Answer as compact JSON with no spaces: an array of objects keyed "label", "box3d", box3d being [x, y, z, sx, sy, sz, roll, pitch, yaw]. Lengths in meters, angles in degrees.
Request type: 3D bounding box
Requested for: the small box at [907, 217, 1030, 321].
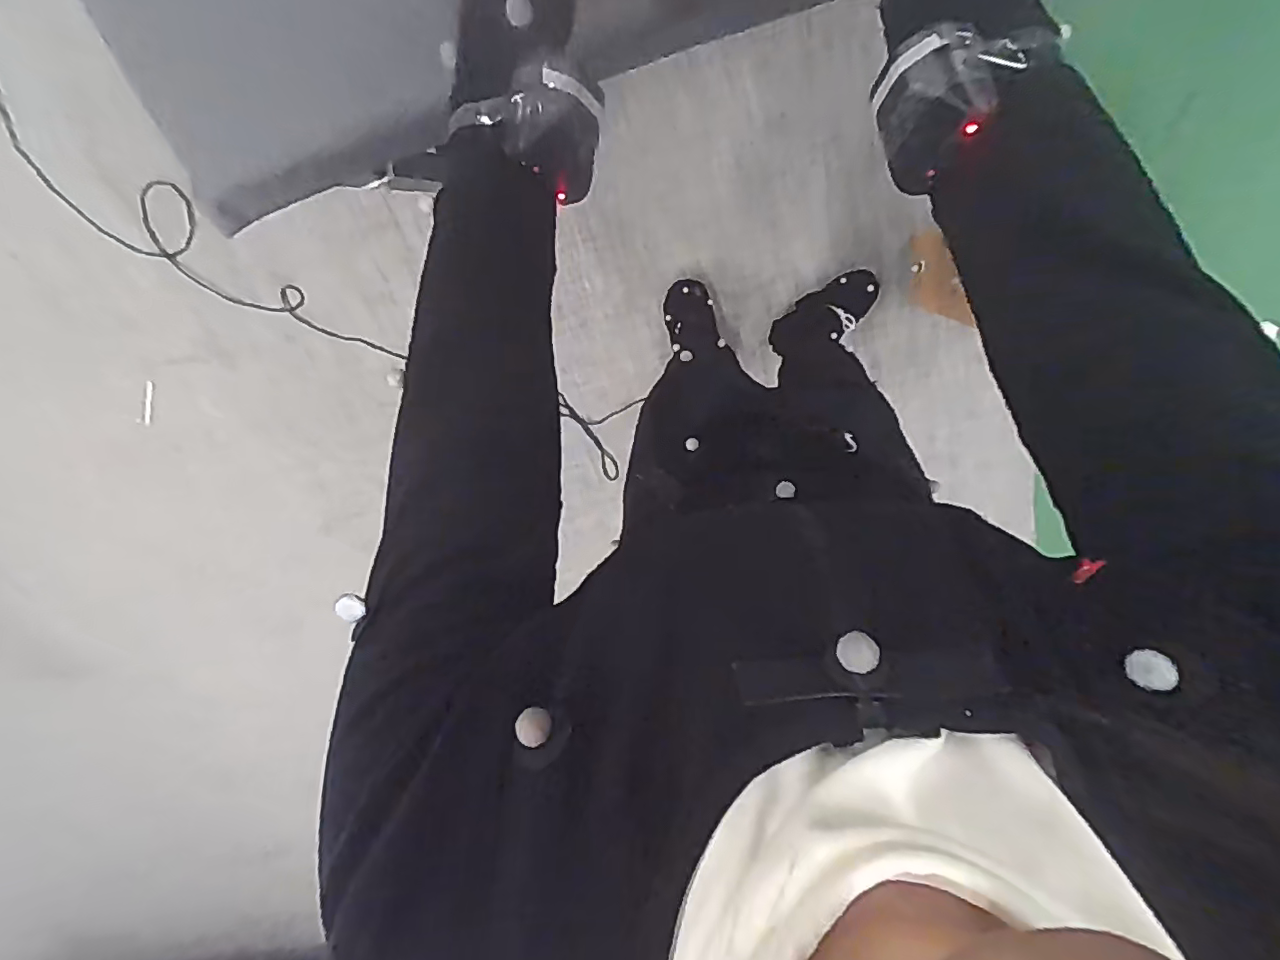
[{"label":"small box","box3d":[0.688,-0.450,1.143,0.179,0.176,0.168,-11,114,10]}]
